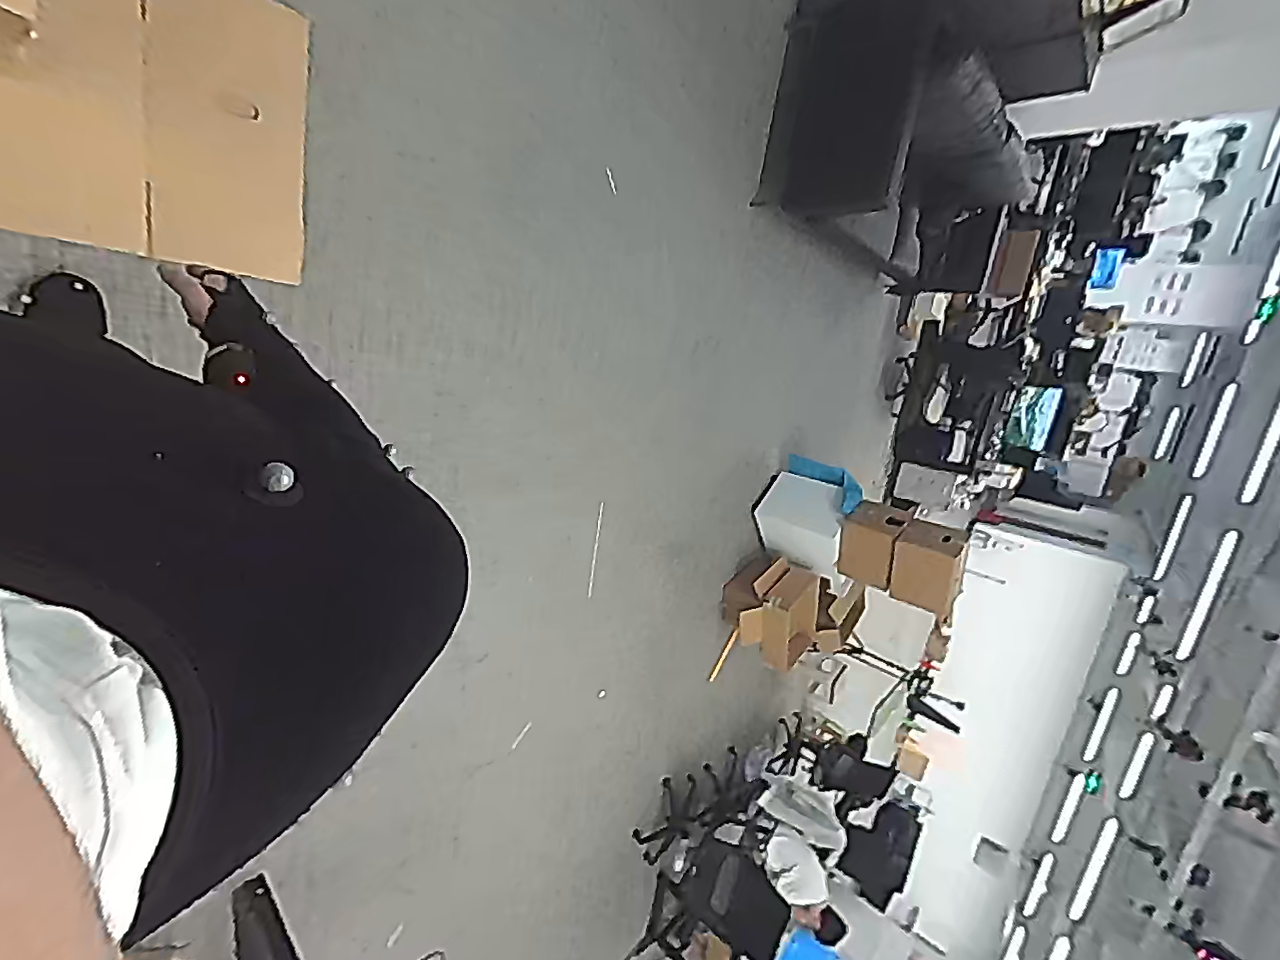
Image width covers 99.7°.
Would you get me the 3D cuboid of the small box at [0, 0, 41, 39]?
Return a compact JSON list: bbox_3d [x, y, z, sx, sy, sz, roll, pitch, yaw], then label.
[{"bbox_3d":[-0.871,-0.698,0.671,0.179,0.176,0.168,5,102,-51],"label":"small box"}]
